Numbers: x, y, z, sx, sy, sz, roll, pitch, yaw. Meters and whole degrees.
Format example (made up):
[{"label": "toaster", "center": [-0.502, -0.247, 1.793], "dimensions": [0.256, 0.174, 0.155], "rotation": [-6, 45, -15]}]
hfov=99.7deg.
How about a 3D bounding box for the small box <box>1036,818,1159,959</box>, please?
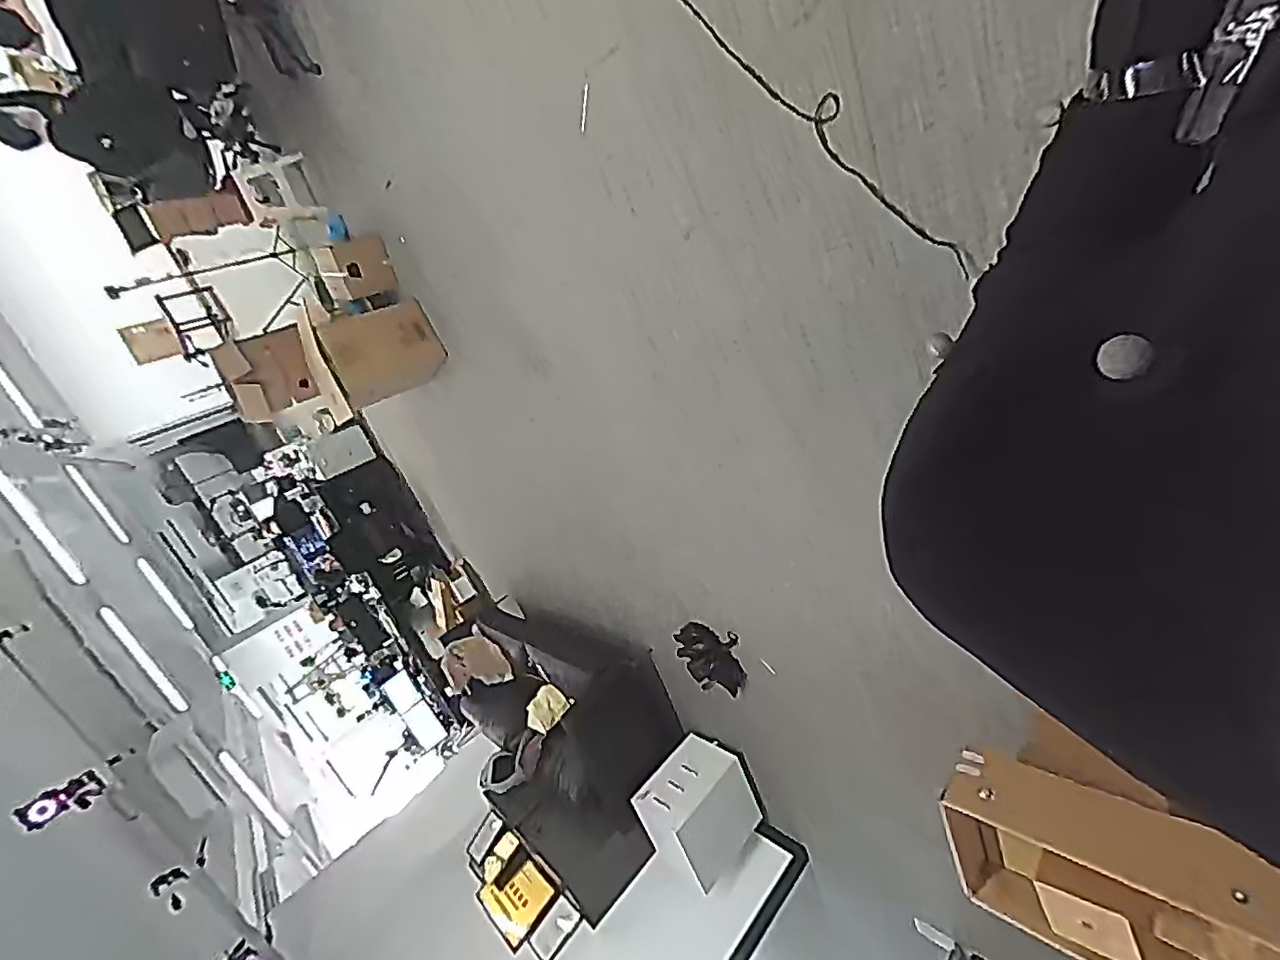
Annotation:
[{"label": "small box", "center": [1.023, 0.912, 1.205], "dimensions": [0.168, 0.176, 0.179], "rotation": [-10, 110, 53]}]
